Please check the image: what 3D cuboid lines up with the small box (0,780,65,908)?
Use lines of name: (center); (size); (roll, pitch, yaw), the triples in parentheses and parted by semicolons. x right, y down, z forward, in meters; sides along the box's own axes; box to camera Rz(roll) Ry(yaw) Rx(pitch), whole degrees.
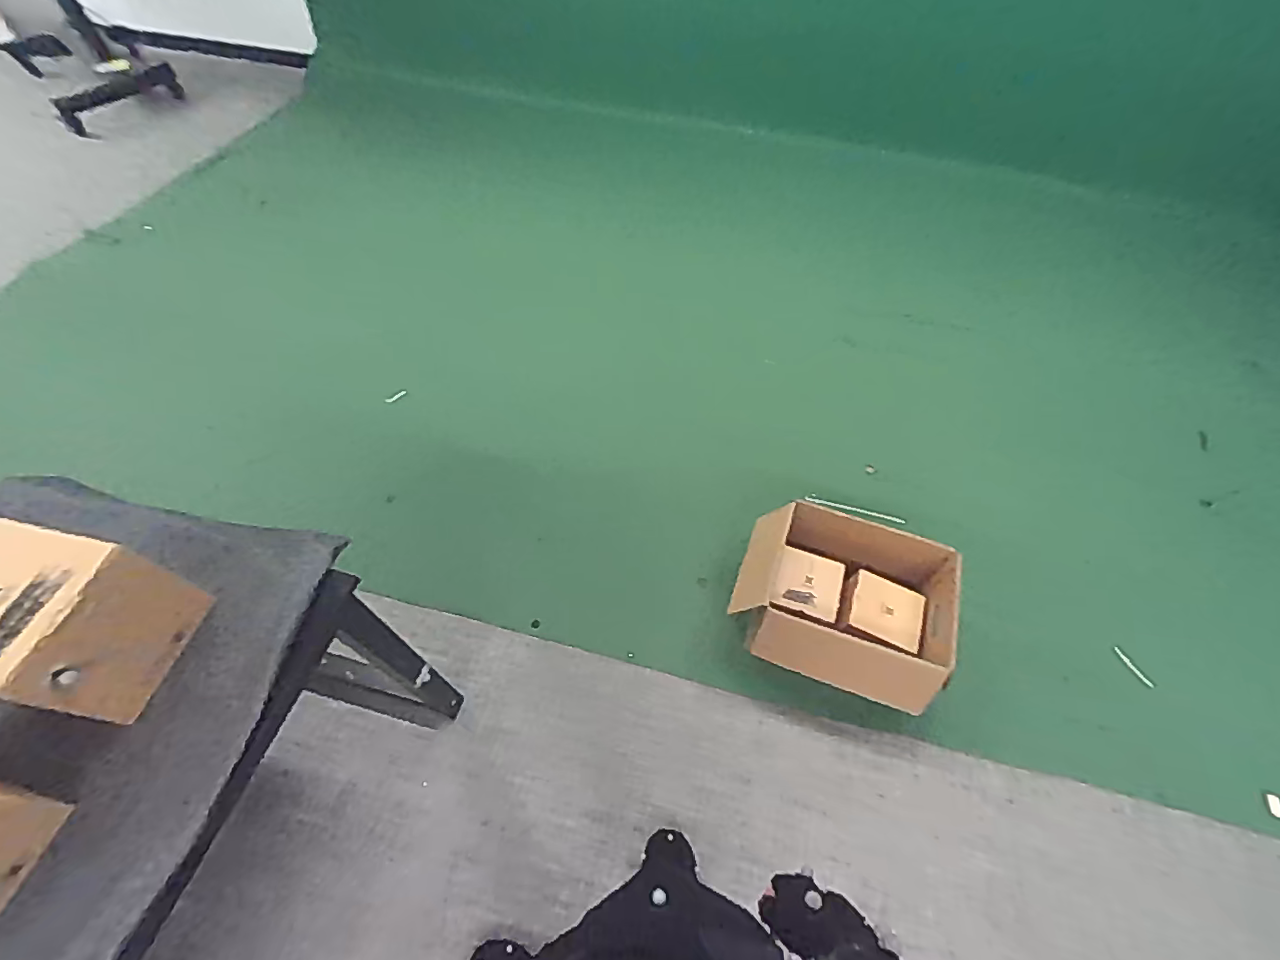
small box: (-0.730, 0.364, 0.499); (0.179, 0.176, 0.168); (13, 57, 6)
